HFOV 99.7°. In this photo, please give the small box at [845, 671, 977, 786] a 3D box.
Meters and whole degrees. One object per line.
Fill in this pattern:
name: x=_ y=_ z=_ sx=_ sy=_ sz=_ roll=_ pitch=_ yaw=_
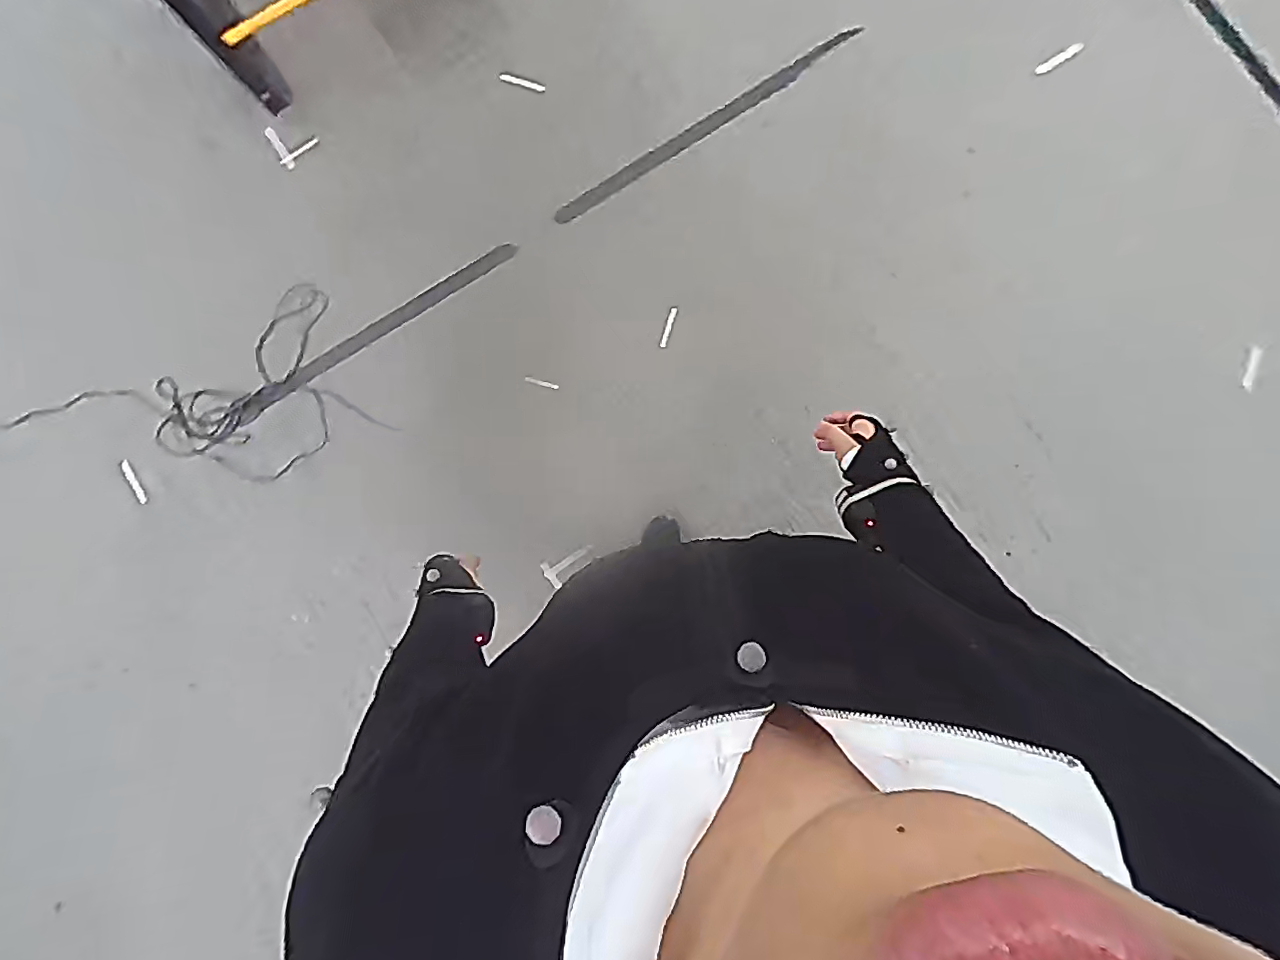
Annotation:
small box: x=0.579 y=0.515 z=1.185 sx=0.168 sy=0.176 sz=0.179 roll=-34 pitch=86 yaw=0
